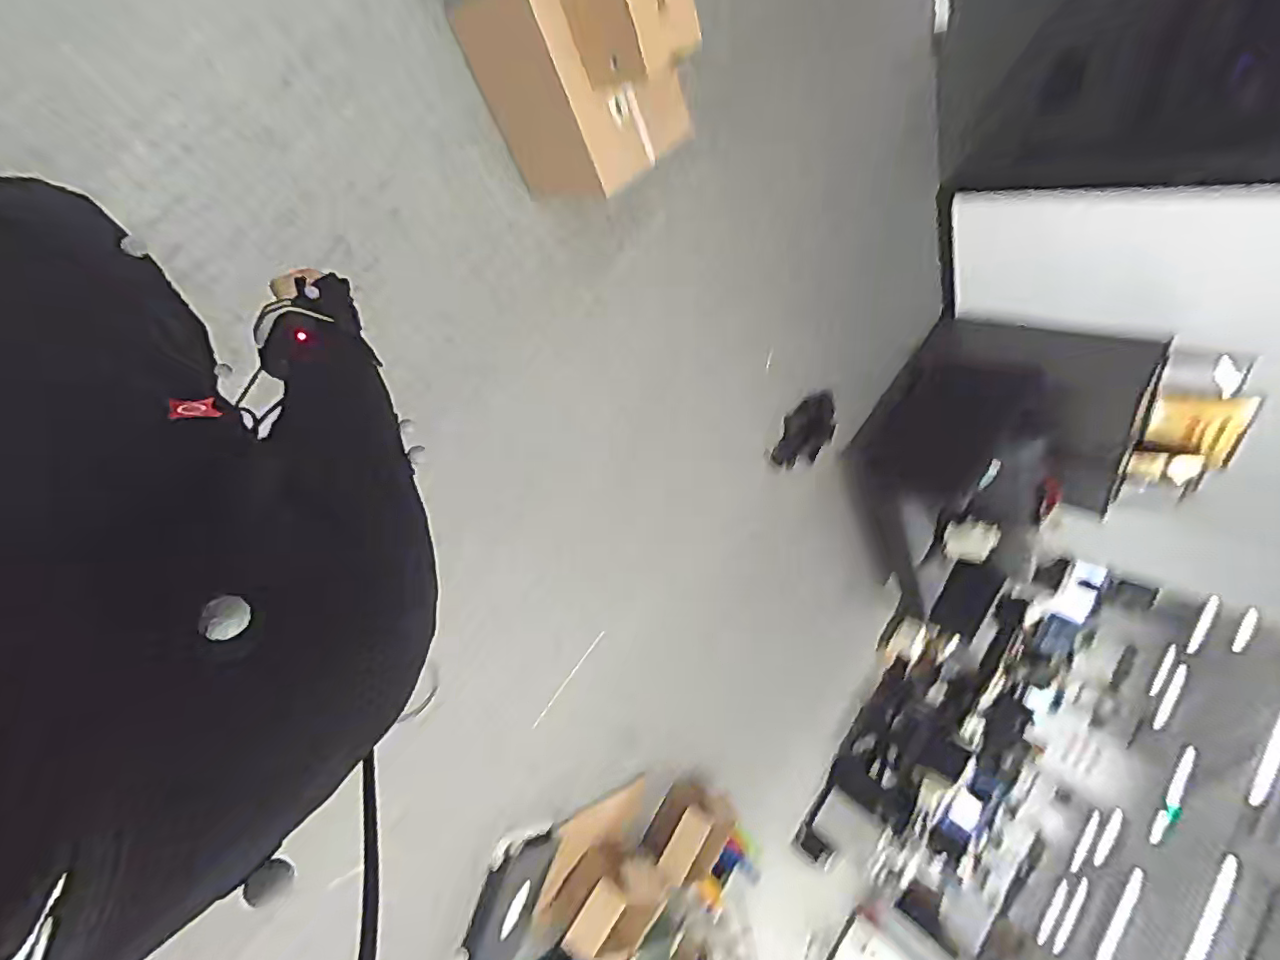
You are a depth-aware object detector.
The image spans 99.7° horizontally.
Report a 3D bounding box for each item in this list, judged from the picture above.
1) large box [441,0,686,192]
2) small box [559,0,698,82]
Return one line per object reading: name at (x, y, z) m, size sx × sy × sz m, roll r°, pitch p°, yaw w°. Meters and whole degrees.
large box at (-0.156, -0.927, 1.218) m, size 0.320 × 0.320 × 0.408 m, roll -47°, pitch 137°, yaw -17°
small box at (-0.025, -0.879, 1.009) m, size 0.168 × 0.176 × 0.179 m, roll -49°, pitch 136°, yaw -18°
